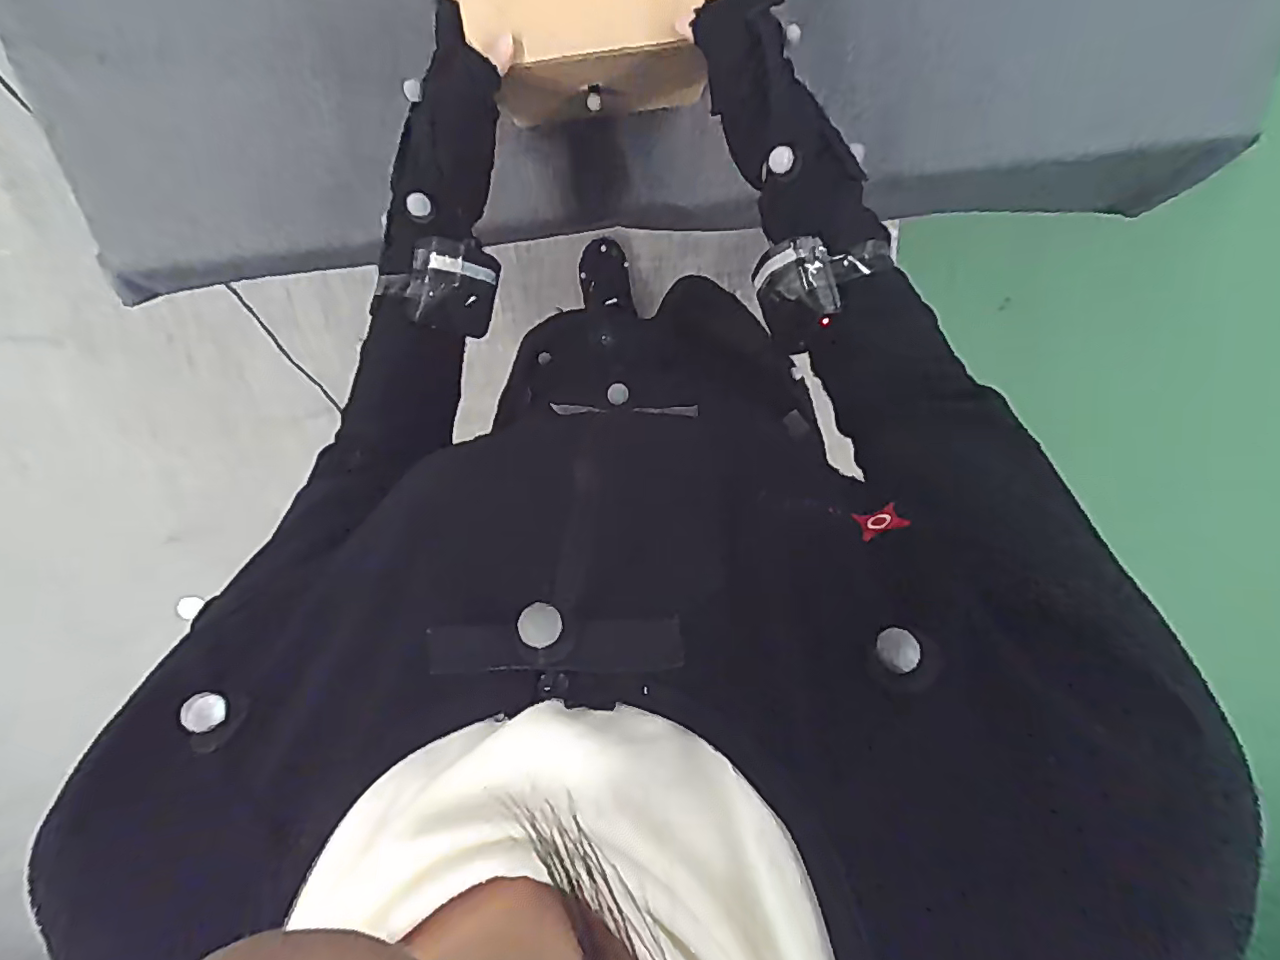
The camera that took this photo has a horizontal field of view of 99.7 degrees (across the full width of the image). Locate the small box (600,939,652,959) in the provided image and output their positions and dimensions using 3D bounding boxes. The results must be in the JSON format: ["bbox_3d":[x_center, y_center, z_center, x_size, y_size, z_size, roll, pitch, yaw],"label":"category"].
[{"bbox_3d":[-0.042,1.726,1.865,0.179,0.176,0.168,-9,113,2],"label":"small box"}]

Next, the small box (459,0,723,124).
[{"bbox_3d":[-0.039,-0.393,0.412,0.179,0.176,0.168,-6,112,2],"label":"small box"}]
